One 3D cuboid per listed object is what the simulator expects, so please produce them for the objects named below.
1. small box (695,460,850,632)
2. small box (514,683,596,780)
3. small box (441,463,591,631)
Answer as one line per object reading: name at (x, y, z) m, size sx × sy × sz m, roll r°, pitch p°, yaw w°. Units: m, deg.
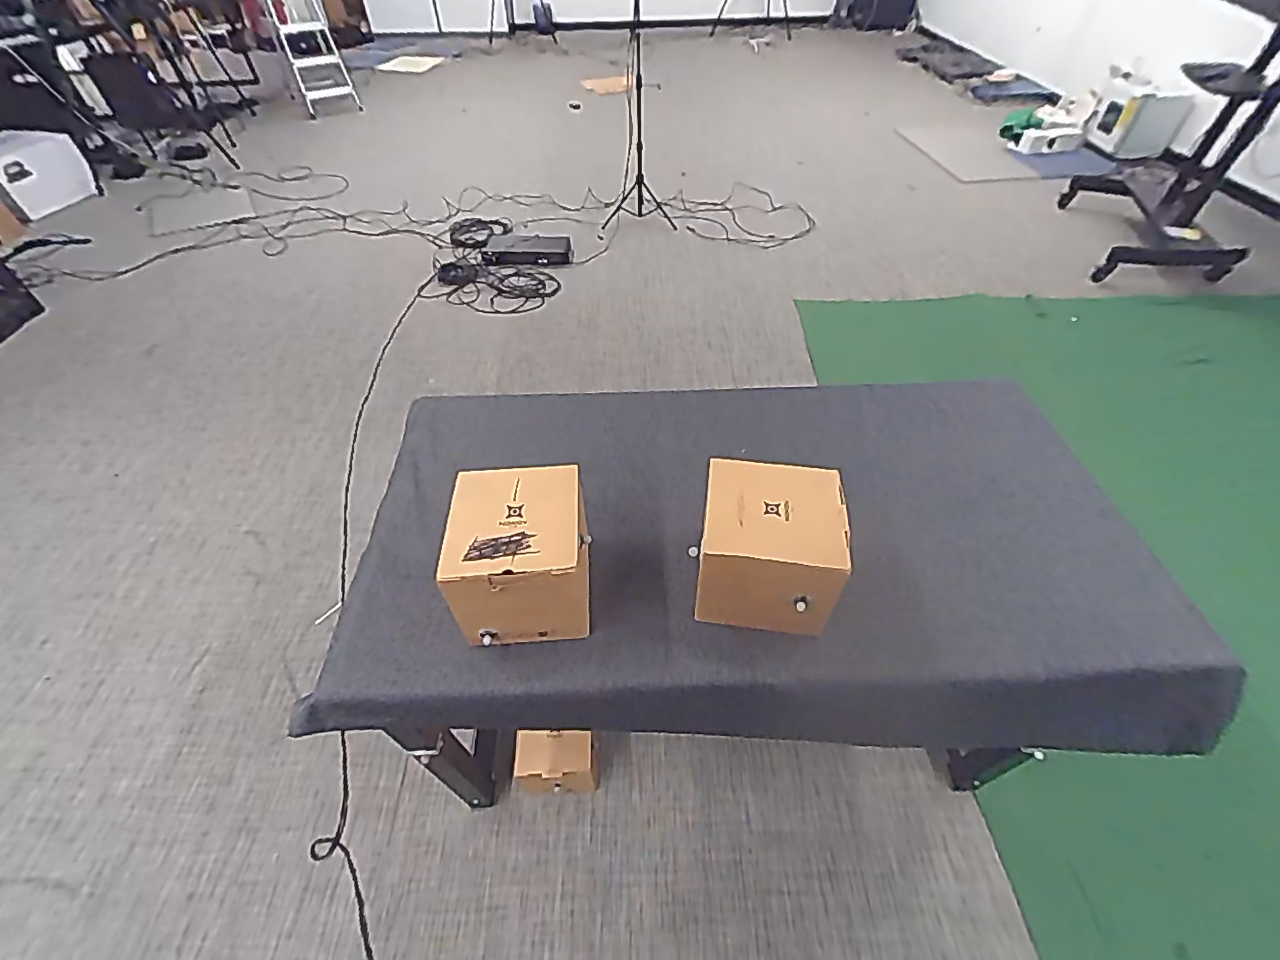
small box at (0.175, 0.095, 0.753) m, size 0.179 × 0.176 × 0.168 m, roll 6°, pitch 47°, yaw 7°
small box at (-0.192, 0.600, 1.281) m, size 0.168 × 0.176 × 0.179 m, roll -1°, pitch 49°, yaw -1°
small box at (-0.156, 0.097, 0.748) m, size 0.168 × 0.176 × 0.179 m, roll -2°, pitch 47°, yaw -2°
